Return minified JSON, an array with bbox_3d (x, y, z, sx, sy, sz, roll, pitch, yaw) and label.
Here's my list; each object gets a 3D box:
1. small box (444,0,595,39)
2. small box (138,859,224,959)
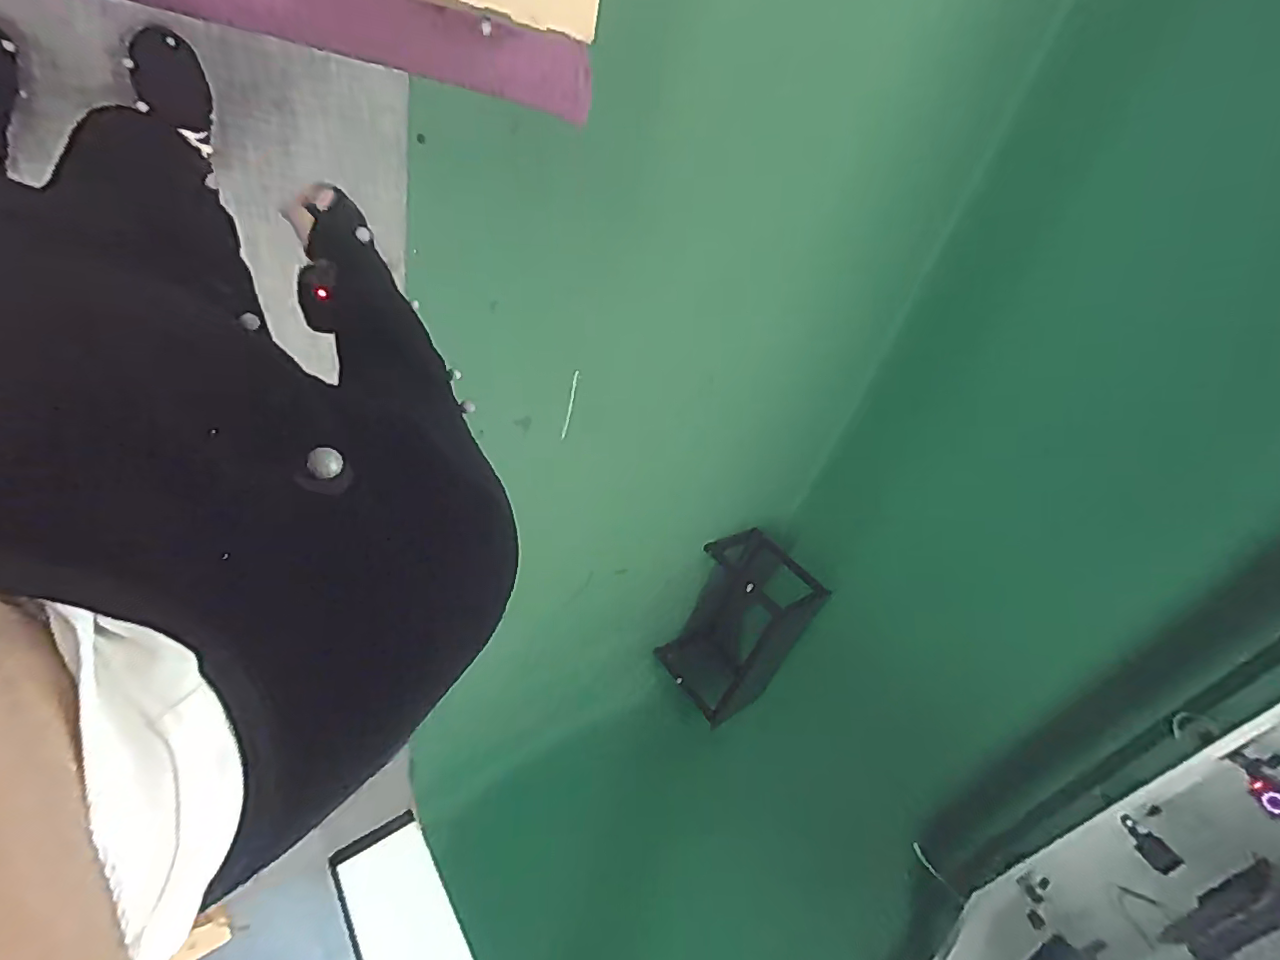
[{"bbox_3d":[-0.150,-0.611,0.578,0.168,0.176,0.179,-14,134,-37],"label":"small box"},{"bbox_3d":[-1.304,1.233,1.539,0.168,0.176,0.179,-11,131,-40],"label":"small box"}]
